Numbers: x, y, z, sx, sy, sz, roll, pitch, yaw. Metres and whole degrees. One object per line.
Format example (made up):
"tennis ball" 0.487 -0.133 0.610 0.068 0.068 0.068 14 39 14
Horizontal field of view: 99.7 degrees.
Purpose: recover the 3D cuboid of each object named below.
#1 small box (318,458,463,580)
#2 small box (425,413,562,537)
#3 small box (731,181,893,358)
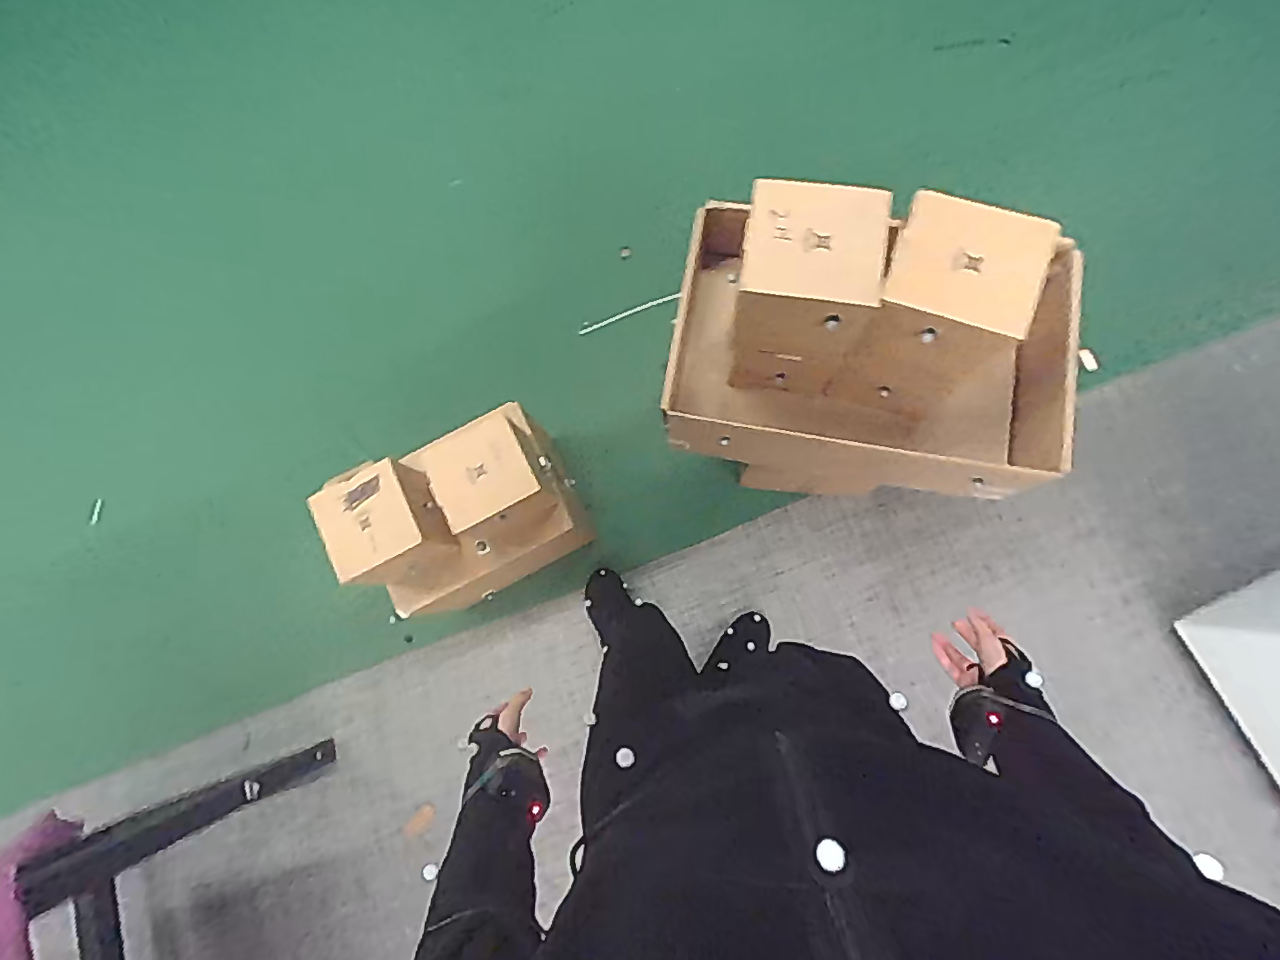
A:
"small box" -0.475 0.085 1.049 0.168 0.176 0.179 -27 78 0
"small box" -0.274 0.000 1.047 0.179 0.176 0.168 -27 79 0
"small box" 0.234 -0.289 0.772 0.179 0.176 0.168 9 79 7
